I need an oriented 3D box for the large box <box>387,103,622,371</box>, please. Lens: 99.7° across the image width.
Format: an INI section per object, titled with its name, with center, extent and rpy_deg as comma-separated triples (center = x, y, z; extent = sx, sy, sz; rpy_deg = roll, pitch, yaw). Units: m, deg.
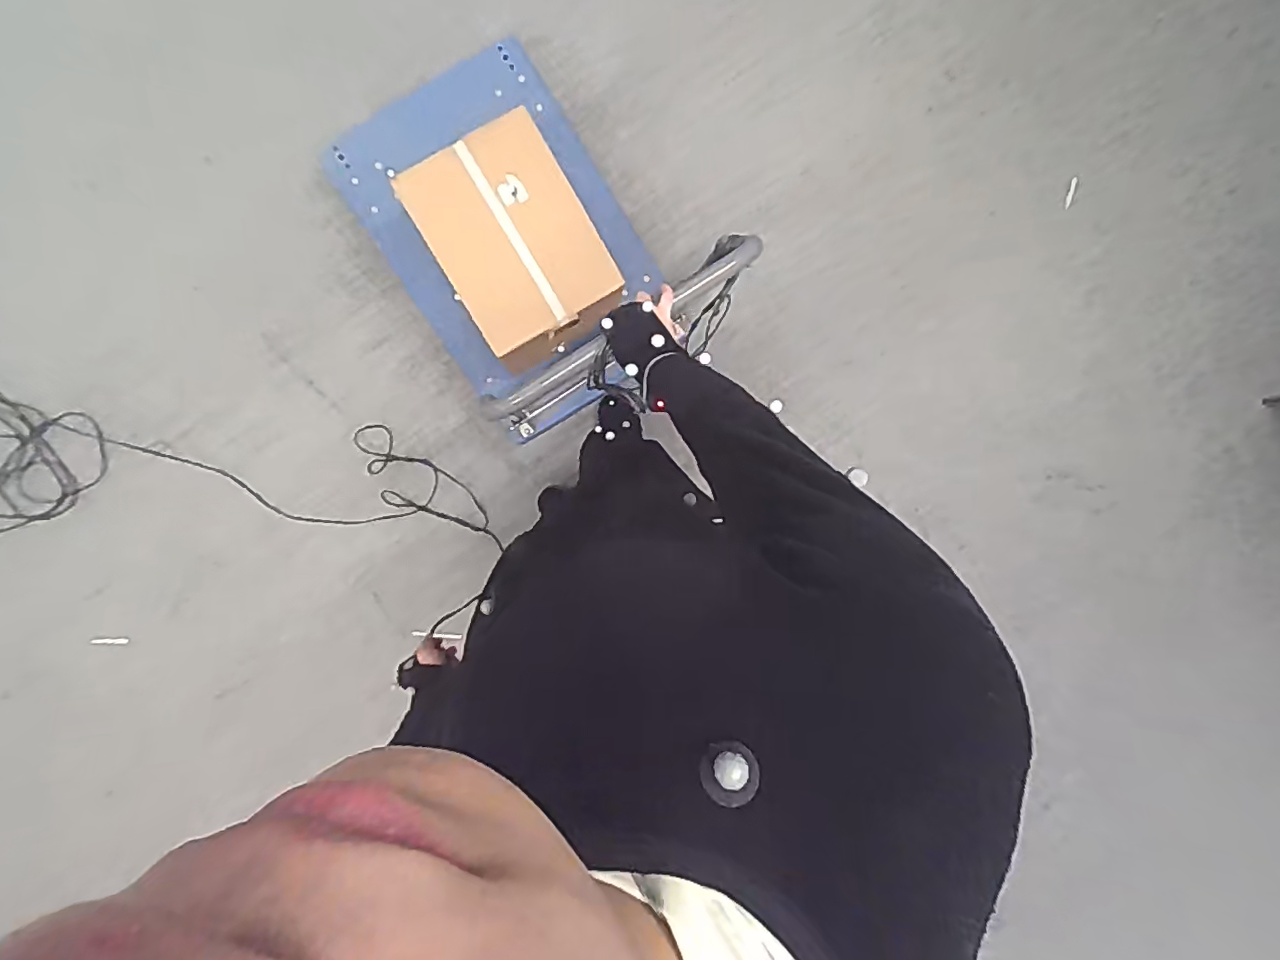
[large box]
center = -0.277, -0.512, 1.229
extent = 0.320, 0.320, 0.408
rpy_deg = -31, 96, -4
